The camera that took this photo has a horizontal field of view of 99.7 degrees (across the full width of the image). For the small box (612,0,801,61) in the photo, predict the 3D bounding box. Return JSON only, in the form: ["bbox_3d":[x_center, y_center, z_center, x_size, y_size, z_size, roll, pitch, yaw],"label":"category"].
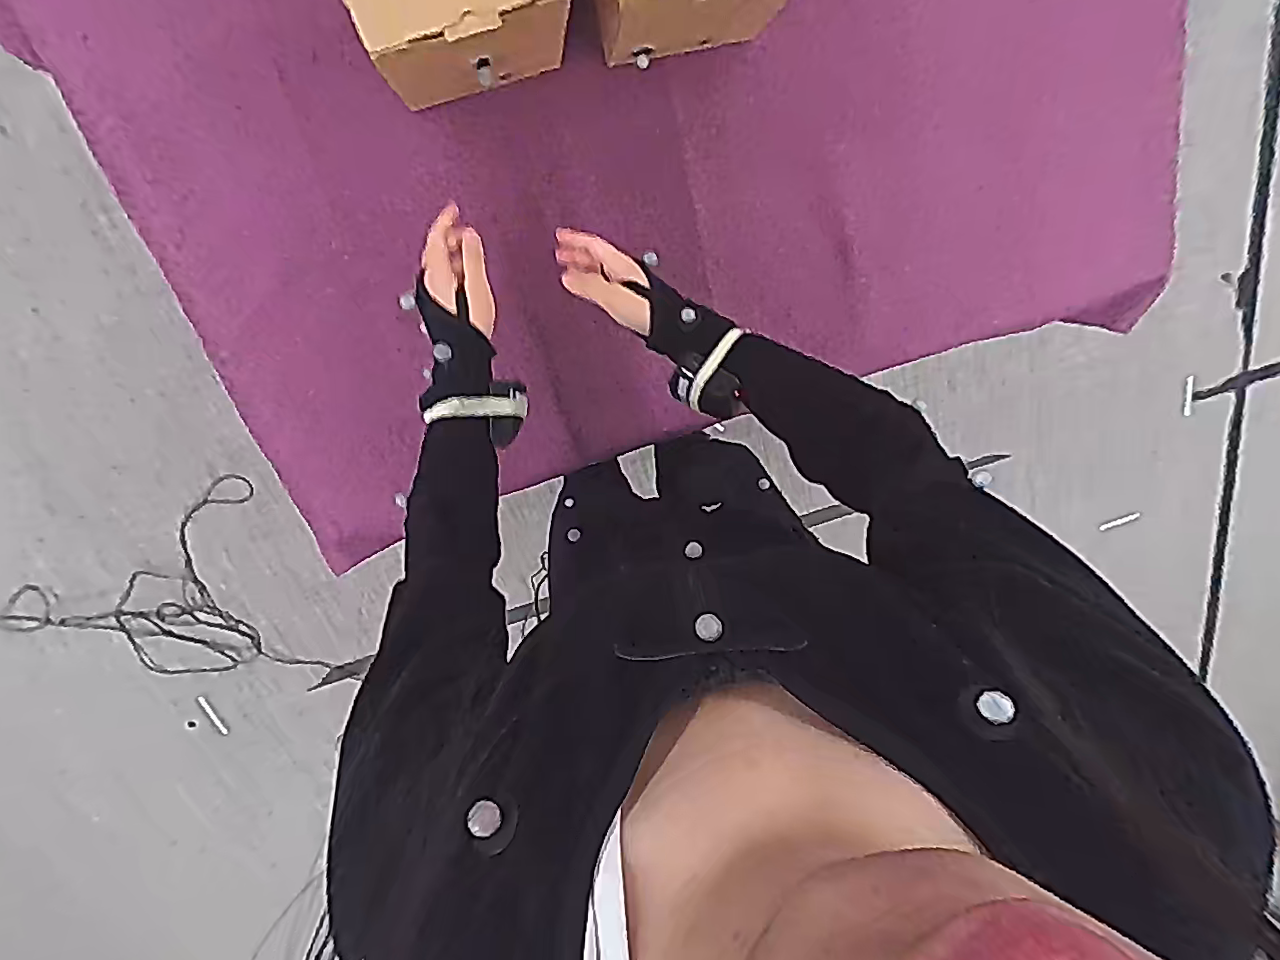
[{"bbox_3d":[0.059,-0.502,0.475,0.168,0.176,0.179,-13,112,-5],"label":"small box"}]
